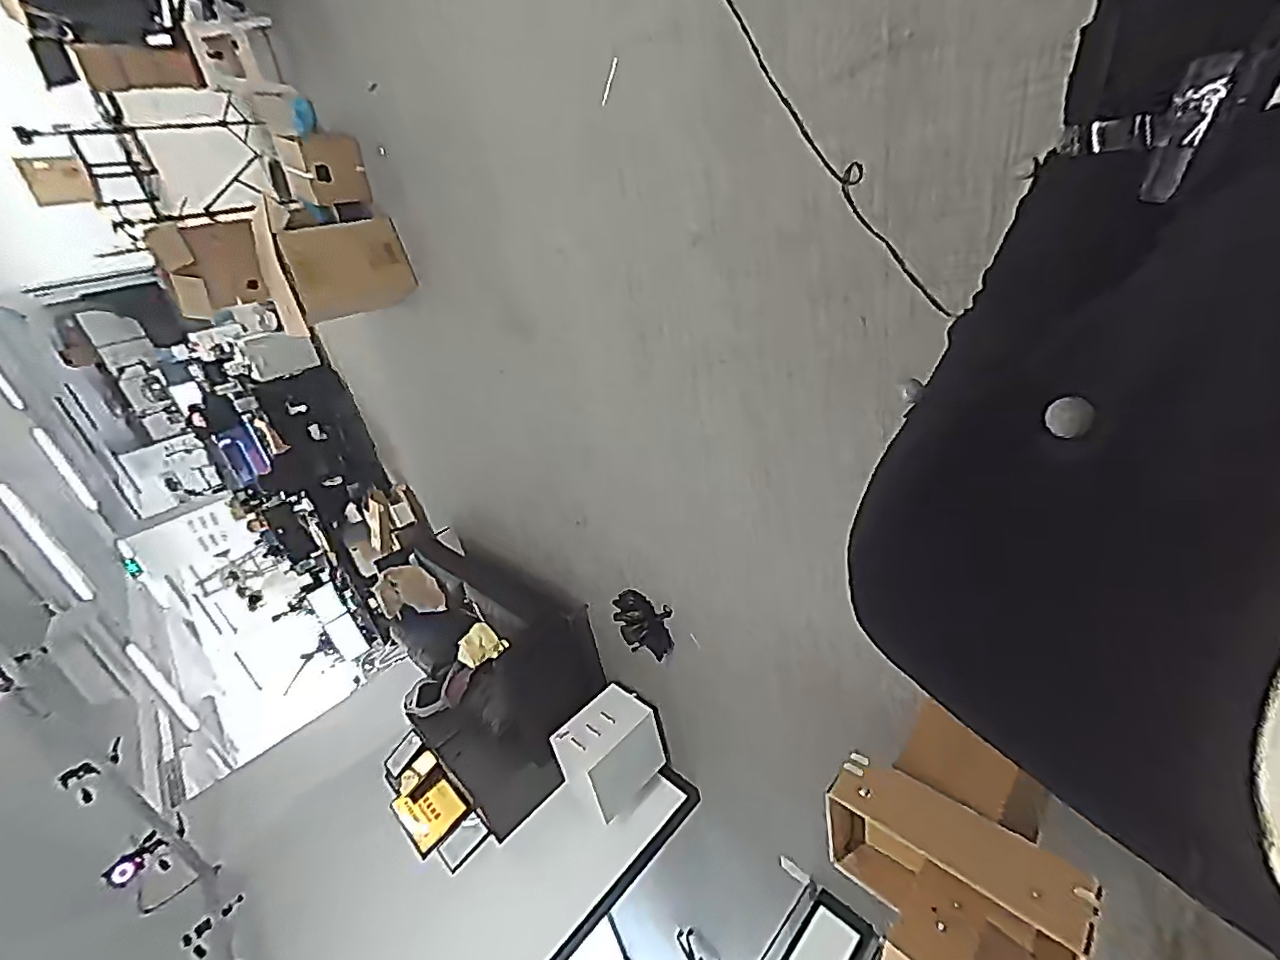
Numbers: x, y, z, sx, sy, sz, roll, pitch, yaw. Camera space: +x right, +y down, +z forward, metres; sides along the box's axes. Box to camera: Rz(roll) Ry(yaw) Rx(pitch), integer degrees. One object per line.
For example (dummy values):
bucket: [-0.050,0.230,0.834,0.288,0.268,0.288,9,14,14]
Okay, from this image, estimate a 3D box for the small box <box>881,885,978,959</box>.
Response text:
small box: [0.745,1.210,1.395,0.168,0.176,0.179,22,132,41]

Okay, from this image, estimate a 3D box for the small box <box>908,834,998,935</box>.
small box: [0.857,1.136,1.490,0.168,0.176,0.179,23,134,39]
